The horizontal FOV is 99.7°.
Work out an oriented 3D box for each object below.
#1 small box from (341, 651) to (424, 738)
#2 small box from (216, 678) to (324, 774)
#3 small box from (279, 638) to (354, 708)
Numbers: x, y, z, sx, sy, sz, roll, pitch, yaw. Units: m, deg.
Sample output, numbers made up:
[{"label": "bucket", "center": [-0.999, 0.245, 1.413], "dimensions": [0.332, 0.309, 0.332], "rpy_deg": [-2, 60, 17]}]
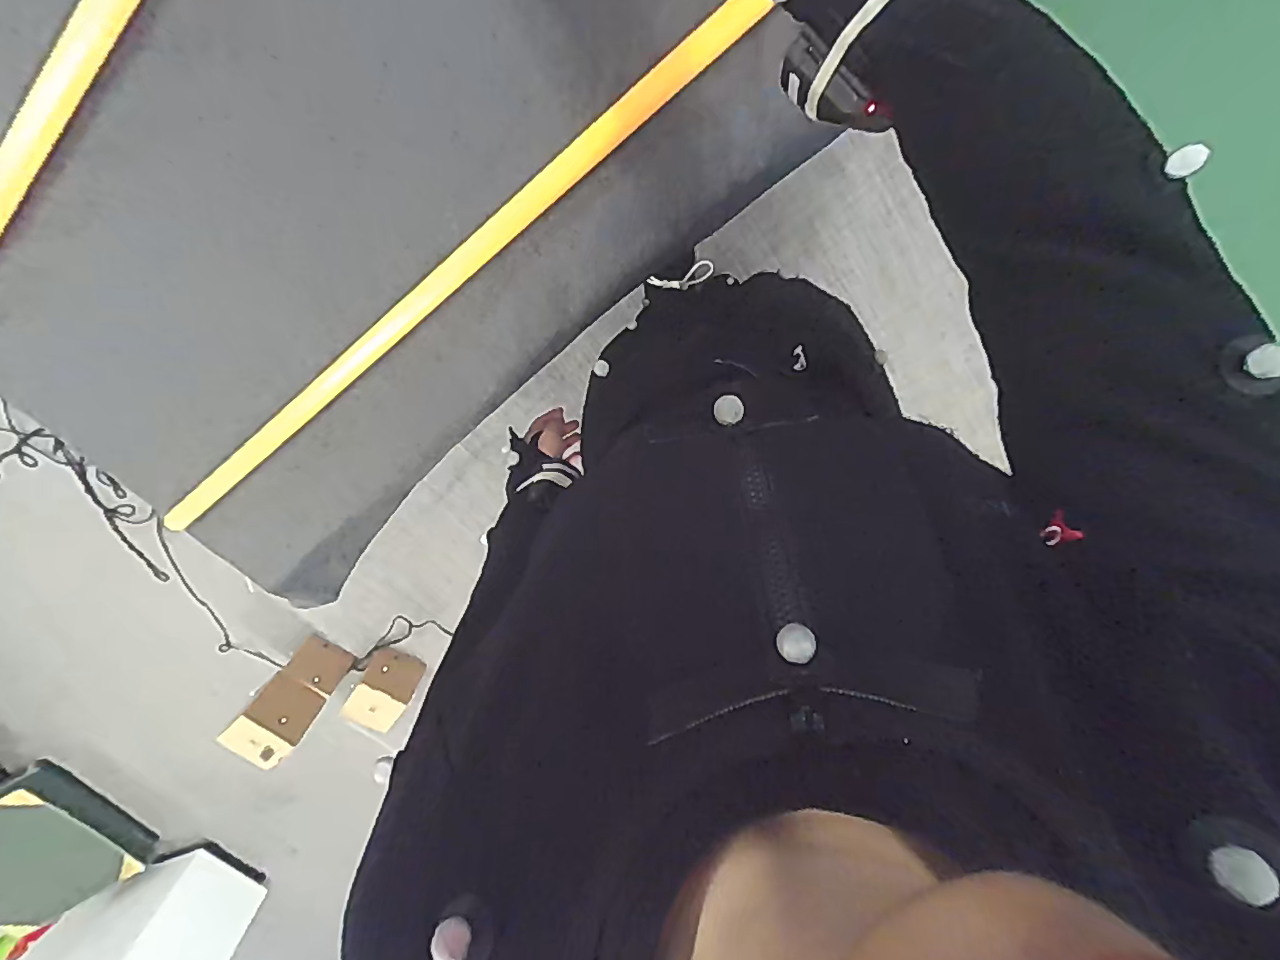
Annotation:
[{"label": "small box", "center": [-0.836, 0.699, 1.776], "dimensions": [0.168, 0.176, 0.179], "rpy_deg": [33, 115, -13]}, {"label": "small box", "center": [-1.093, 0.729, 1.613], "dimensions": [0.168, 0.176, 0.179], "rpy_deg": [-39, 108, 20]}, {"label": "small box", "center": [-1.075, 0.656, 1.761], "dimensions": [0.168, 0.176, 0.179], "rpy_deg": [39, 113, -16]}]
